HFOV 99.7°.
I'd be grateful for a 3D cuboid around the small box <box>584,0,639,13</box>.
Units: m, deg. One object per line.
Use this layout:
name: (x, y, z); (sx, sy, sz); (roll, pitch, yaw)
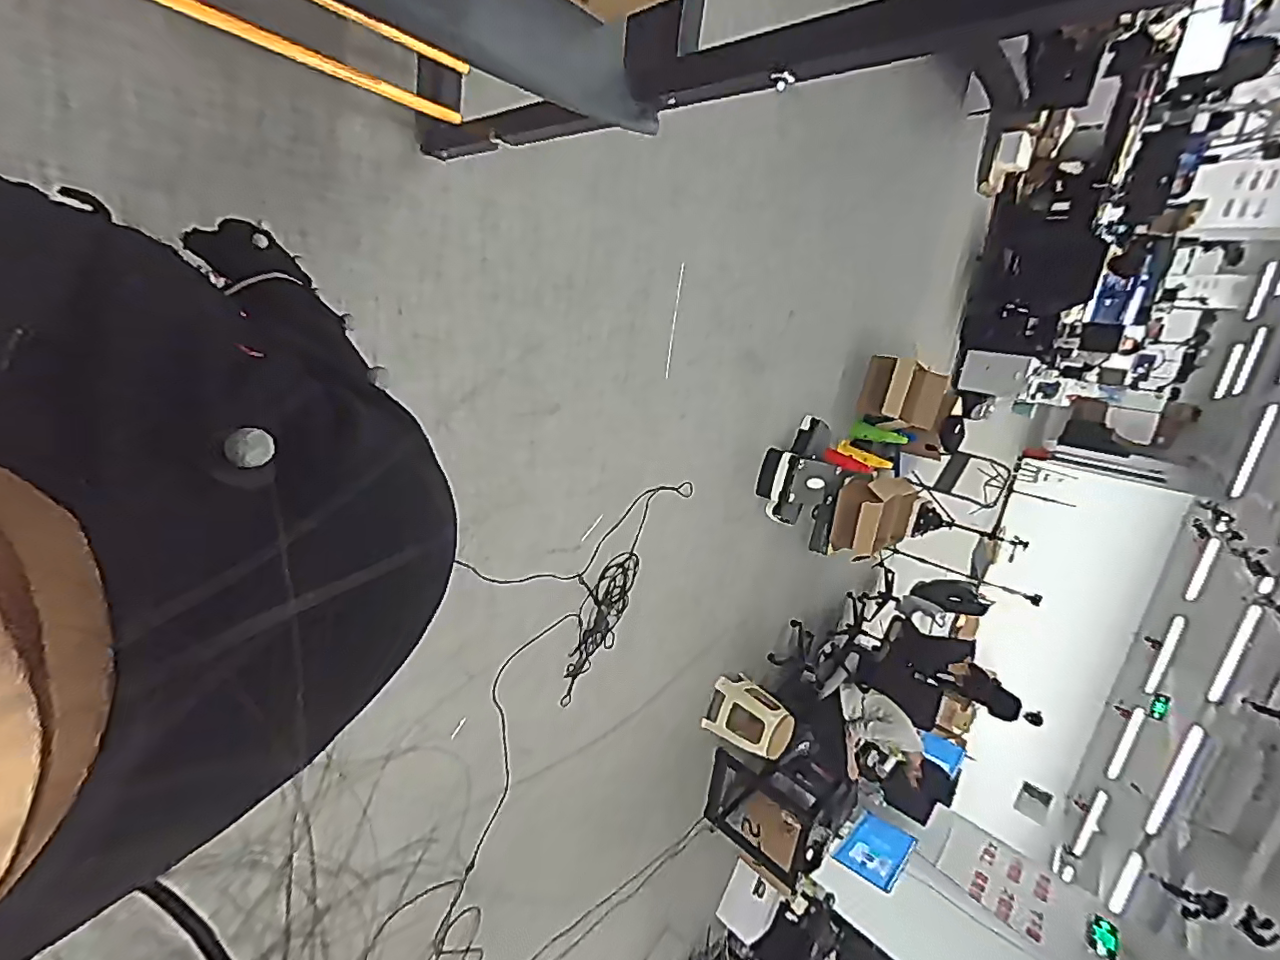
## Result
small box: (-0.040, -0.763, 0.704); (0.168, 0.176, 0.179); (-9, 112, -47)
